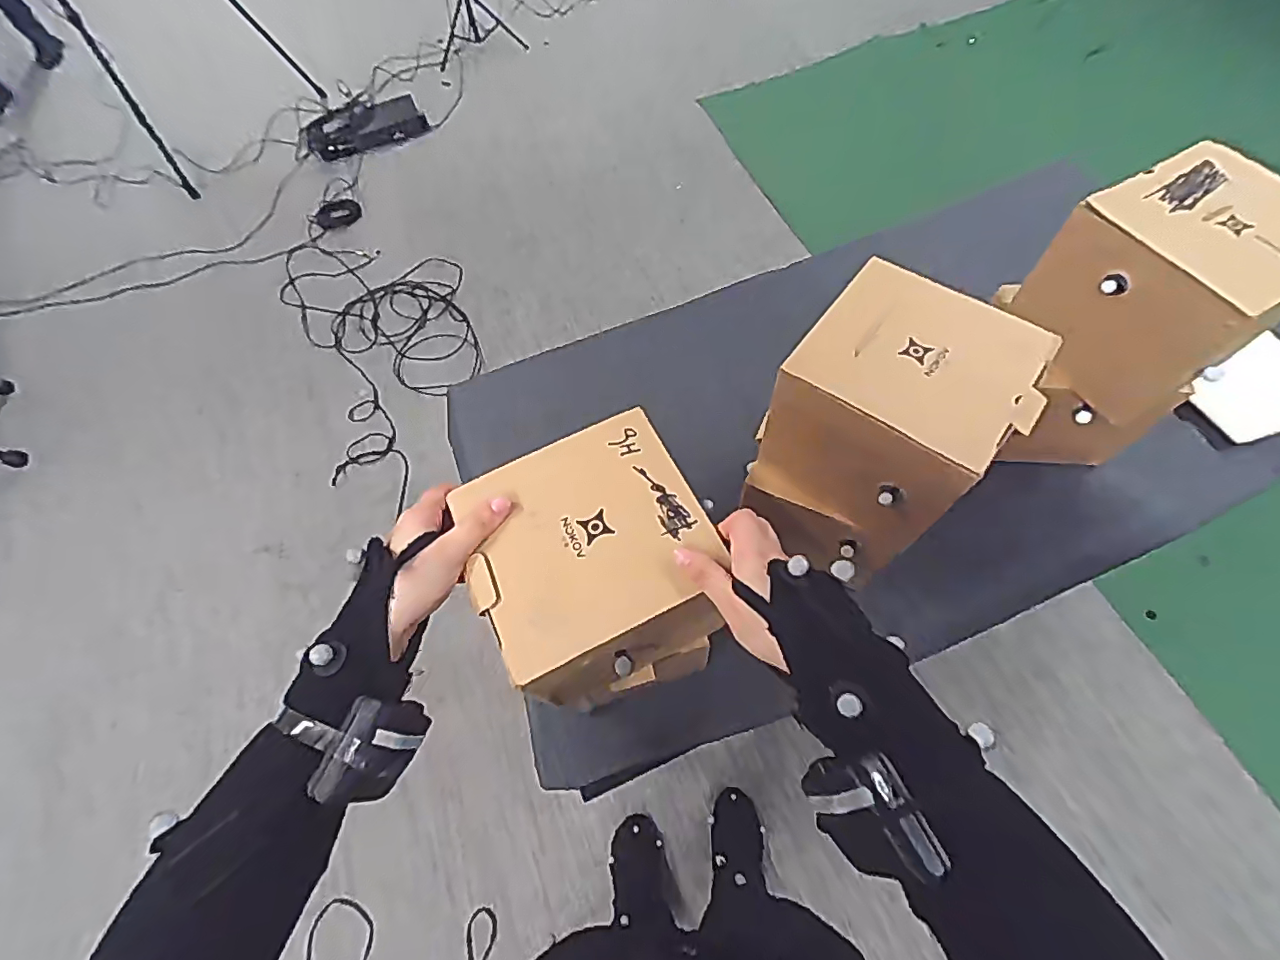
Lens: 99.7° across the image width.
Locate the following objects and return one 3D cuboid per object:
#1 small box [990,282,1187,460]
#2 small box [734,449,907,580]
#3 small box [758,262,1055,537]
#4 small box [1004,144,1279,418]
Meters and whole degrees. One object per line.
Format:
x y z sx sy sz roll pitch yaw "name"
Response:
0.538 -0.137 0.715 0.179 0.176 0.168 3 64 7 "small box"
0.230 0.007 0.669 0.179 0.176 0.168 22 67 15 "small box"
0.236 -0.066 0.523 0.179 0.176 0.168 34 70 20 "small box"
0.533 -0.198 0.562 0.168 0.176 0.179 -28 64 -8 "small box"
